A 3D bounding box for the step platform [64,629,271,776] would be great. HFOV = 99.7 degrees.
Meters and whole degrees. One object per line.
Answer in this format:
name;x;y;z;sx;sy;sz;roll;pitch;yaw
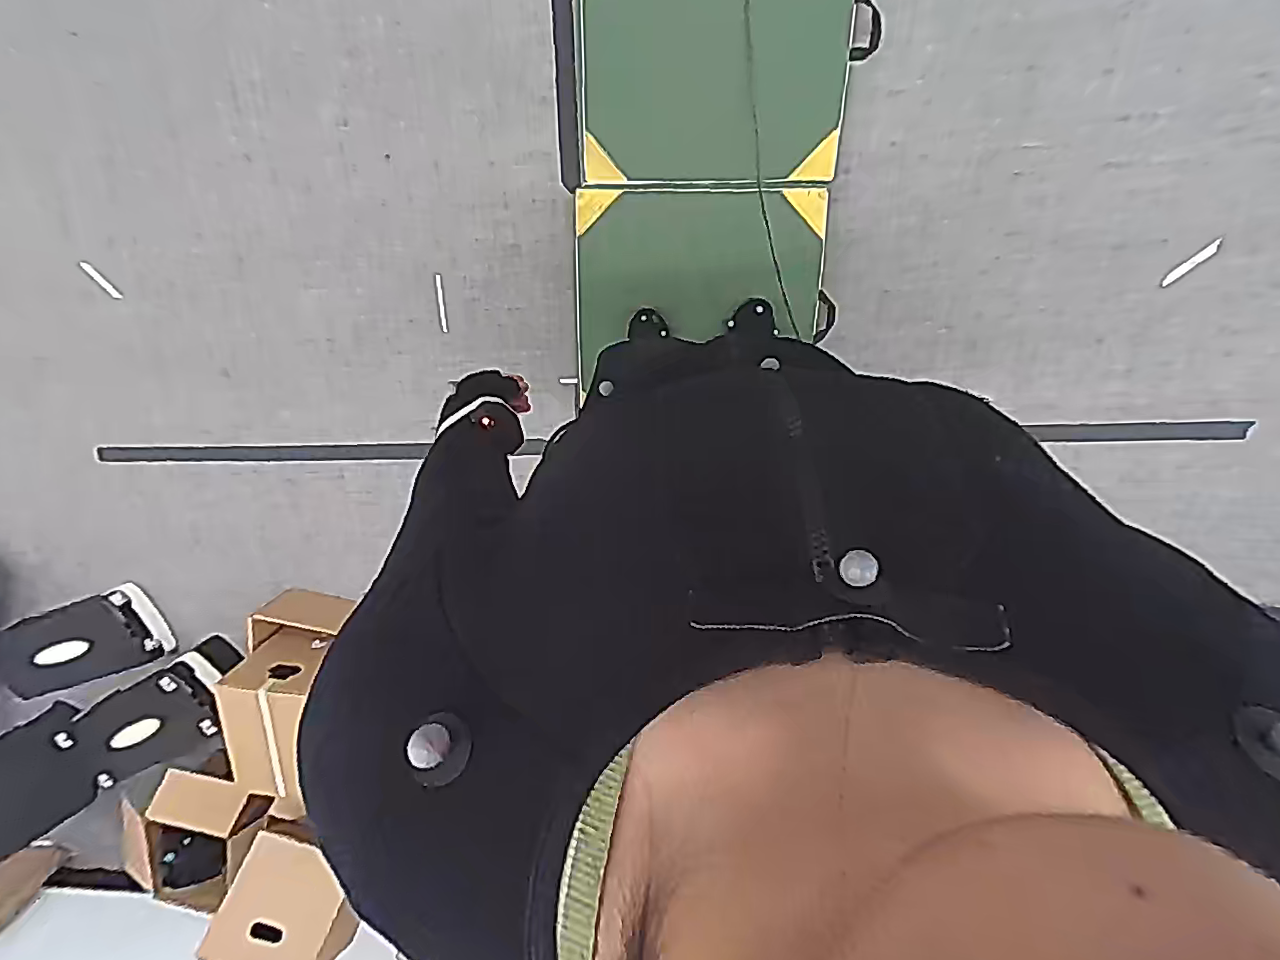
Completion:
step platform;-1.708;0.810;1.954;0.684;0.204;0.286;-28;104;13
